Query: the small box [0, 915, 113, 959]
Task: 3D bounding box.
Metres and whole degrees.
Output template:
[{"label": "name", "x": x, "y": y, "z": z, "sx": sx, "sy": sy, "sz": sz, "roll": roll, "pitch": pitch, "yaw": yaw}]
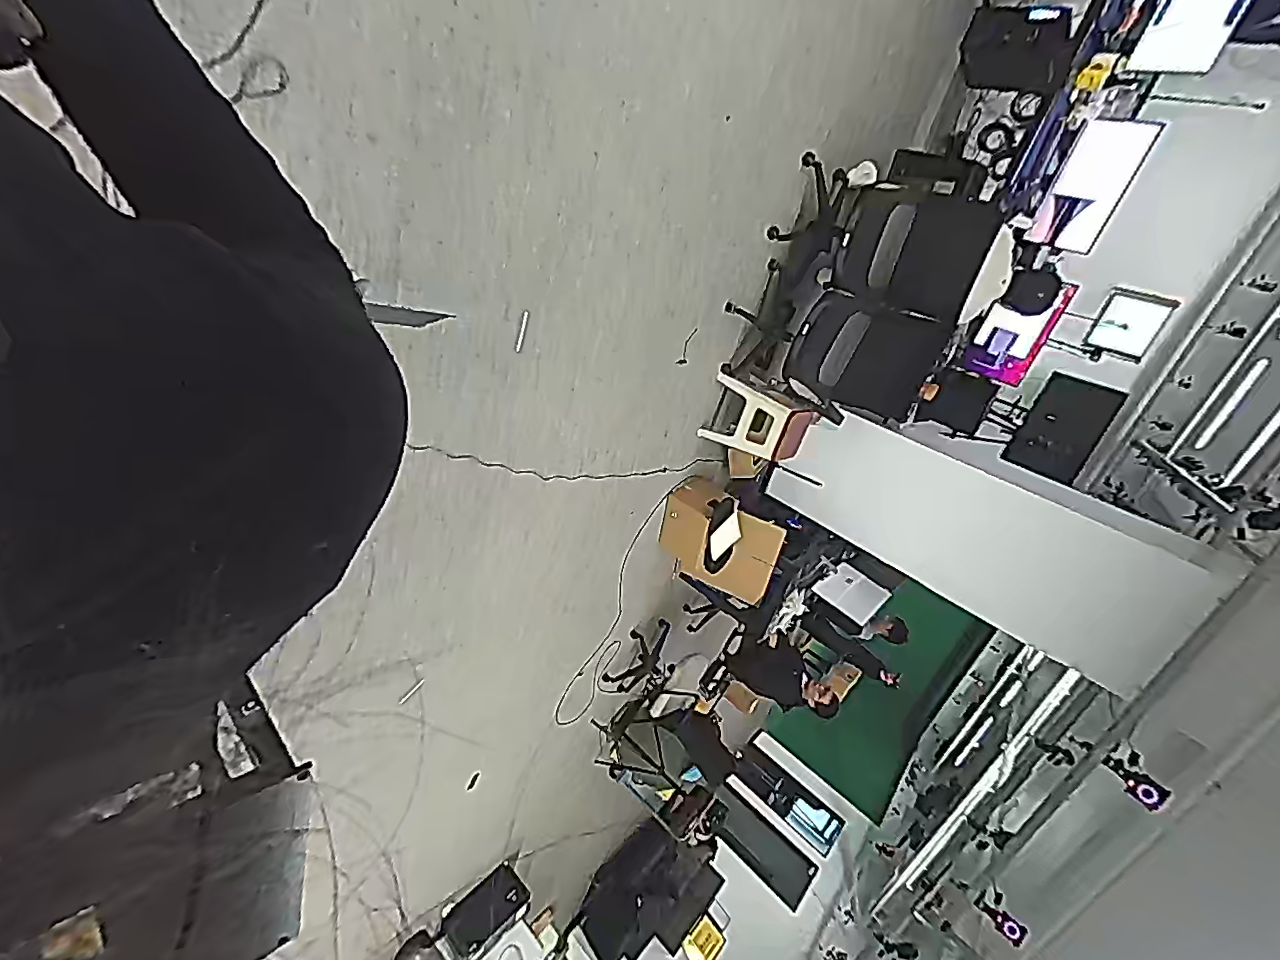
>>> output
[{"label": "small box", "x": -0.879, "y": 0.797, "z": 0.790, "sx": 0.168, "sy": 0.176, "sz": 0.179, "roll": -12, "pitch": 128, "yaw": -50}]
